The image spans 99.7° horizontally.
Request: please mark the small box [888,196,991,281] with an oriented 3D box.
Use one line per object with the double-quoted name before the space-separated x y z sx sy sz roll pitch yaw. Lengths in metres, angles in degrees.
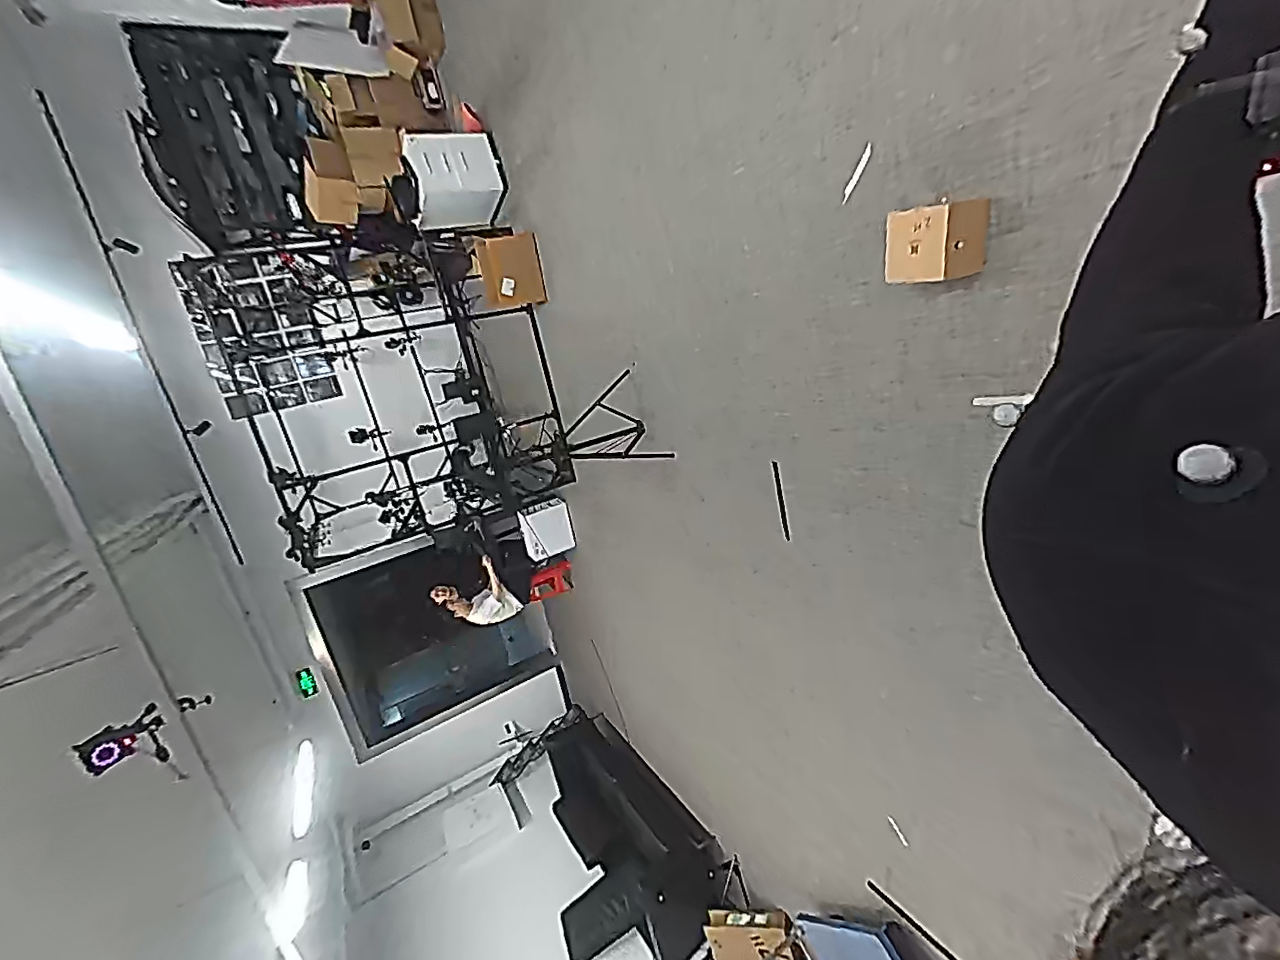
"small box" 0.765 -0.615 1.384 0.168 0.176 0.179 27 131 54
